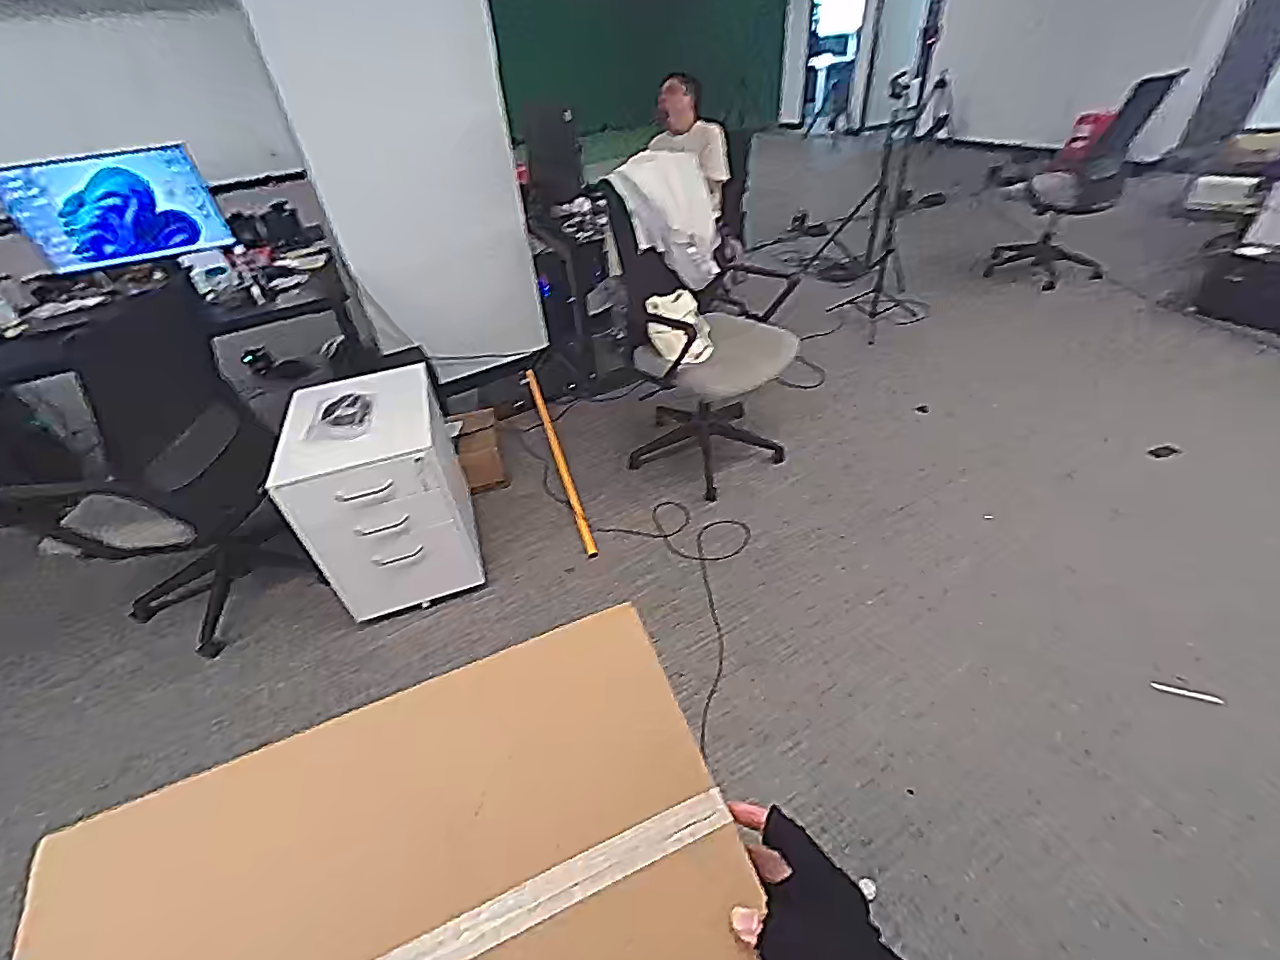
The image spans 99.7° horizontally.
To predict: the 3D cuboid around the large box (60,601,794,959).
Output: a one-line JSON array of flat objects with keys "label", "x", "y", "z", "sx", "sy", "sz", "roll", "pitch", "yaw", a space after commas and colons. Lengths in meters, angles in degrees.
[{"label": "large box", "x": -0.127, "y": 0.365, "z": 0.437, "sx": 0.408, "sy": 0.320, "sz": 0.320, "roll": -19, "pitch": 56, "yaw": -13}]
